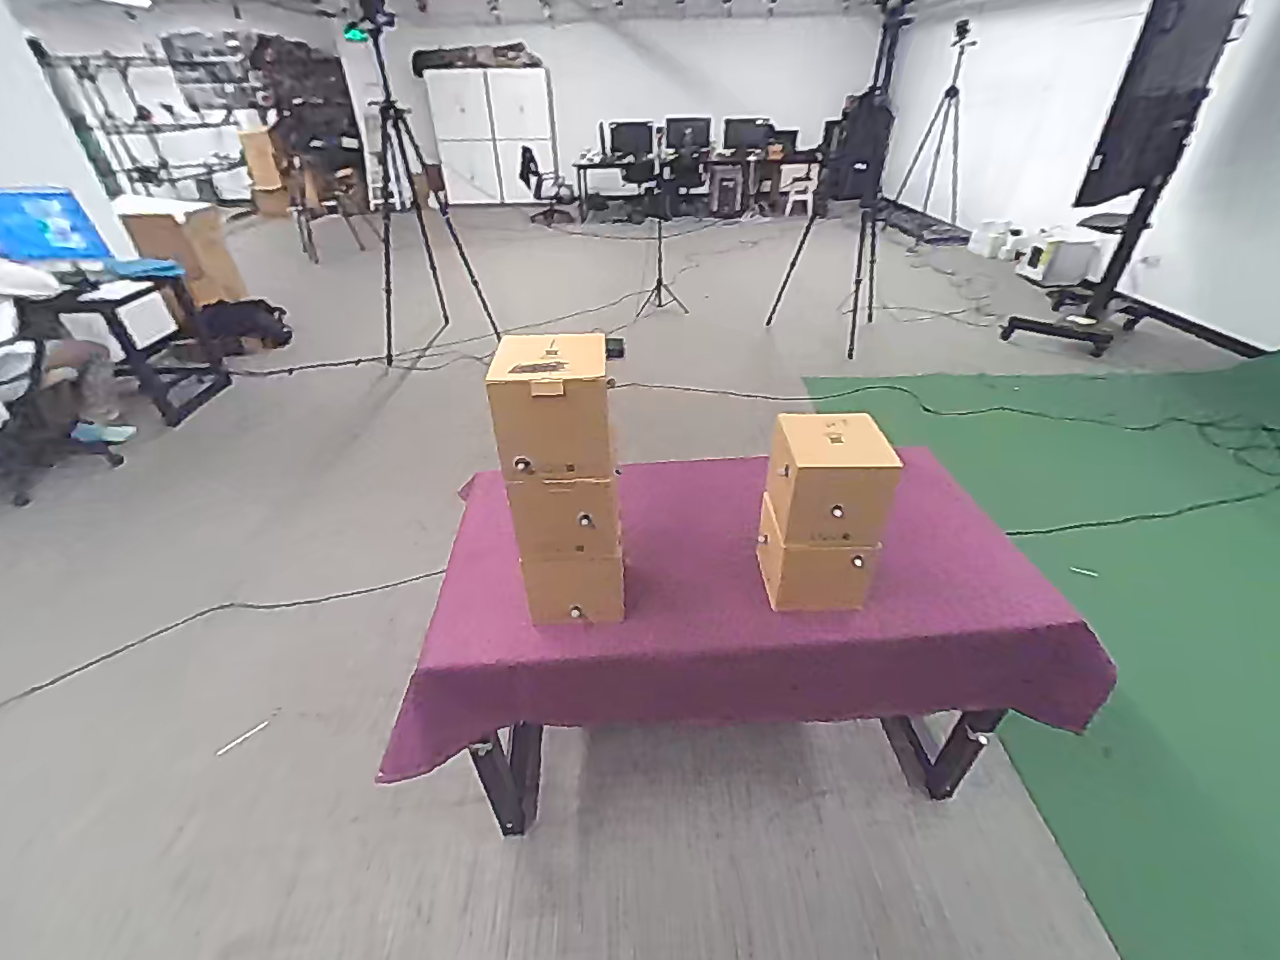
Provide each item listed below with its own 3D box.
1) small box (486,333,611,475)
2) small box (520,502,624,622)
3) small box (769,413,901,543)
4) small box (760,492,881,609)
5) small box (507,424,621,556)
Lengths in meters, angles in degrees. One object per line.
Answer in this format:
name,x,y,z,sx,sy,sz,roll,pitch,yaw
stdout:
small box,-0.131,-0.118,0.848,0.168,0.176,0.179,-2,34,-2
small box,-0.118,0.155,1.030,0.179,0.176,0.168,-1,35,-1
small box,0.329,-0.003,0.950,0.168,0.176,0.179,0,35,2
small box,0.333,0.134,1.041,0.179,0.176,0.168,-1,35,0
small box,-0.121,0.019,0.939,0.168,0.176,0.179,-1,35,1
